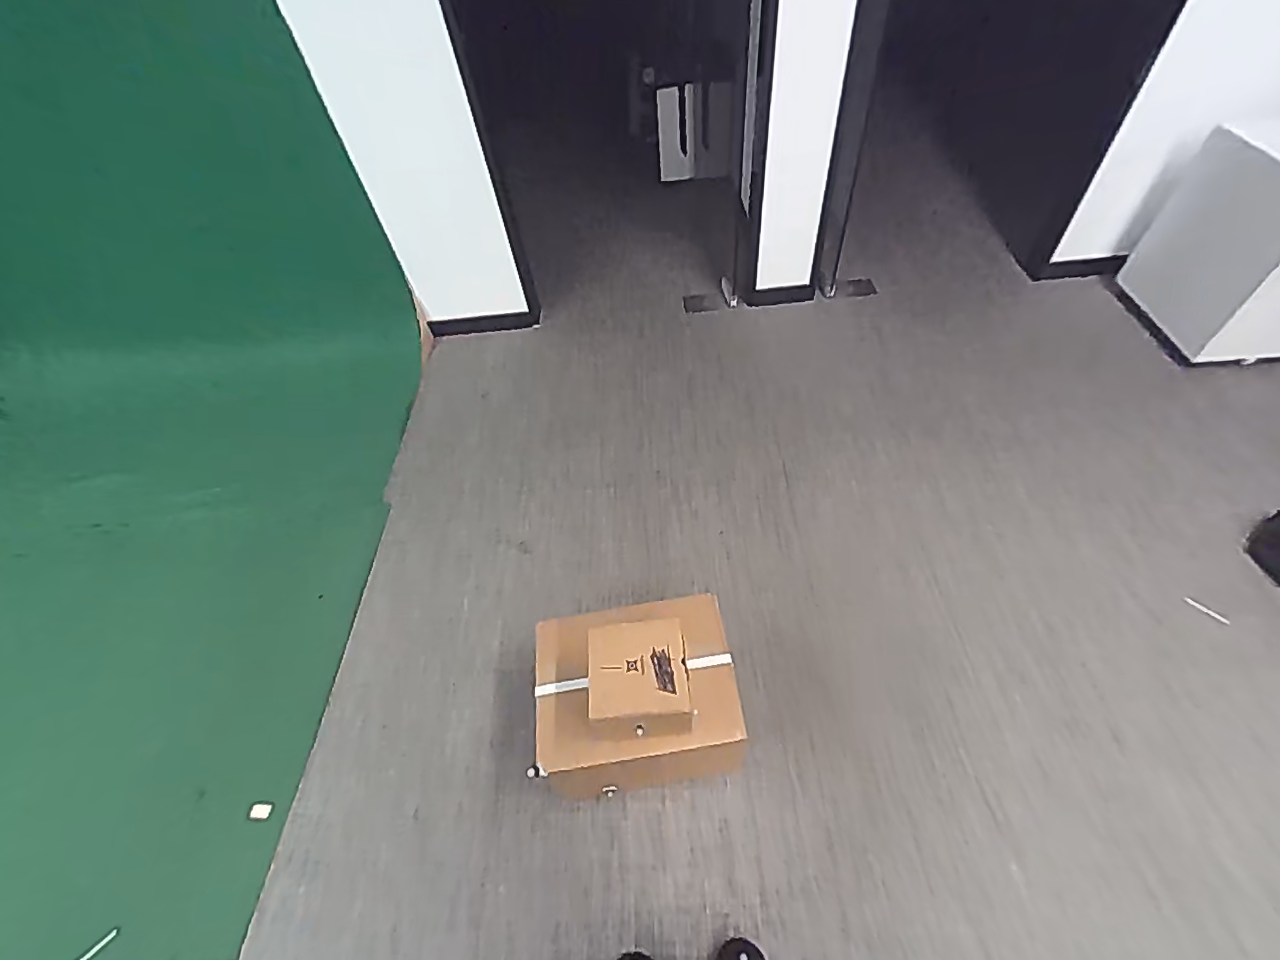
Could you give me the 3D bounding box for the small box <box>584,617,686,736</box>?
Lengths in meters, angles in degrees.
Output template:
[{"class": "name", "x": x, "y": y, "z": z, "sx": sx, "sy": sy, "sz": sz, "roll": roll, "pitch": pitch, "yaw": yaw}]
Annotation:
[{"class": "small box", "x": -0.007, "y": 0.376, "z": 1.027, "sx": 0.179, "sy": 0.176, "sz": 0.168, "roll": -6, "pitch": 52, "yaw": 2}]
